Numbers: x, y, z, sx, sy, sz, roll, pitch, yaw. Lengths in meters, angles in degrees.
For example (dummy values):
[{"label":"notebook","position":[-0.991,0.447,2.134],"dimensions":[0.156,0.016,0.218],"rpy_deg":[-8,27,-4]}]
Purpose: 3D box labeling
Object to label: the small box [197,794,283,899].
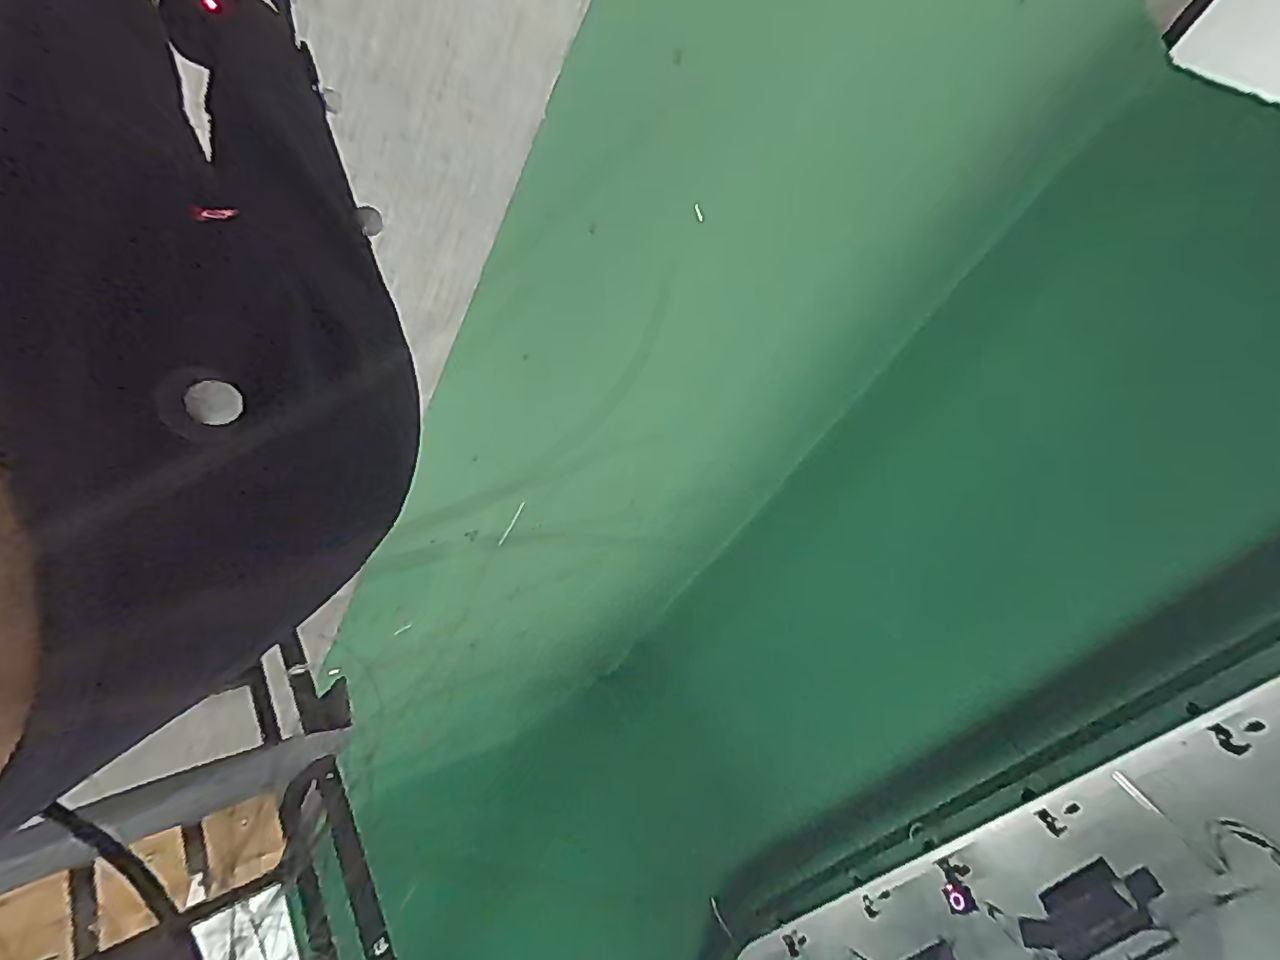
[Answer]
[{"label":"small box","position":[-1.147,1.039,1.545],"dimensions":[0.168,0.176,0.179],"rpy_deg":[-4,137,-48]}]
